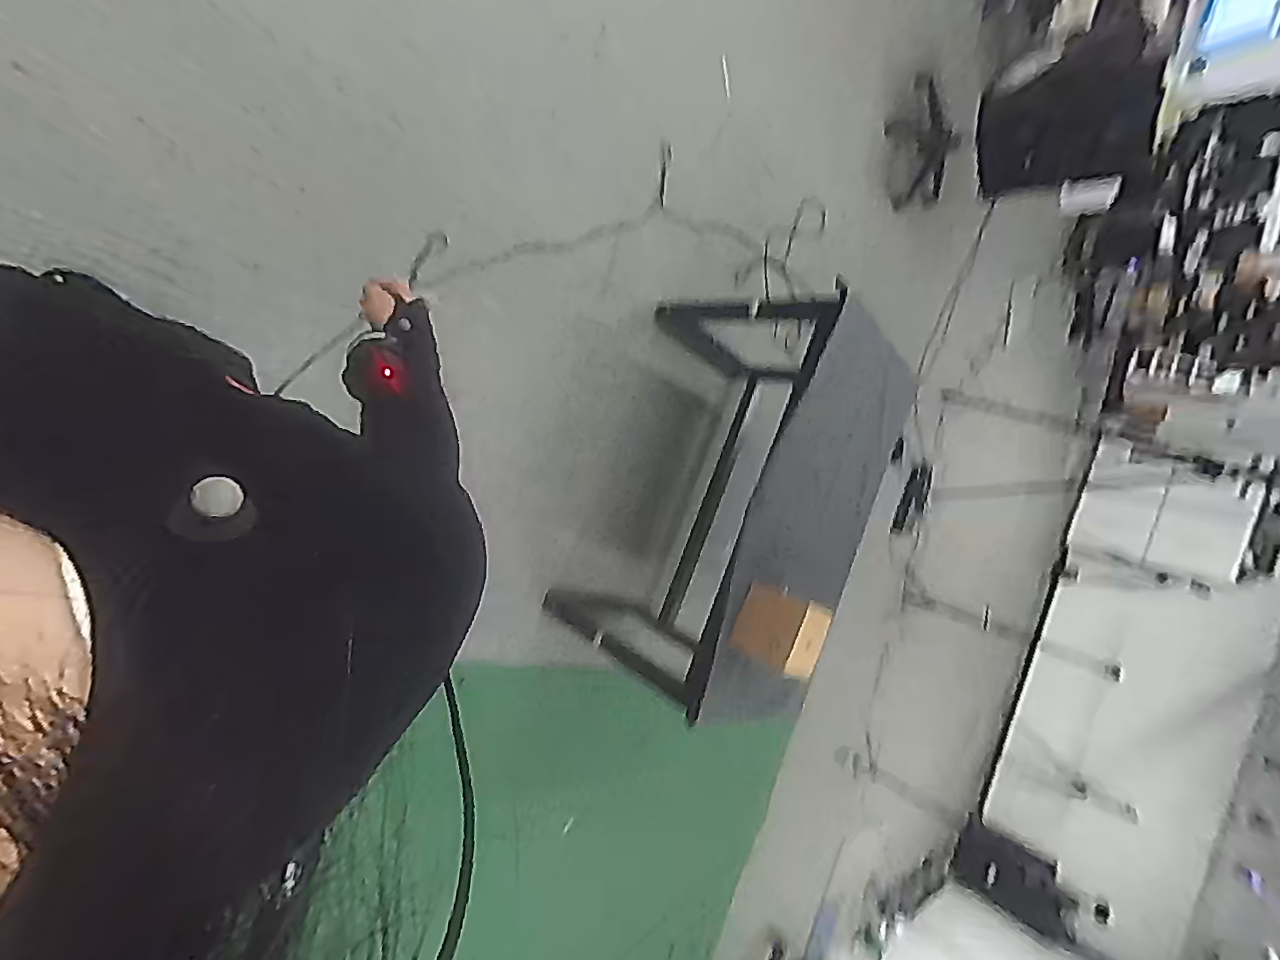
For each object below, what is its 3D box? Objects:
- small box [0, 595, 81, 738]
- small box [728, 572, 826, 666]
[{"bbox_3d":[-1.135,0.323,0.954,0.168,0.176,0.179,34,77,-45],"label":"small box"},{"bbox_3d":[0.354,0.362,1.416,0.168,0.176,0.179,30,80,-47],"label":"small box"}]
